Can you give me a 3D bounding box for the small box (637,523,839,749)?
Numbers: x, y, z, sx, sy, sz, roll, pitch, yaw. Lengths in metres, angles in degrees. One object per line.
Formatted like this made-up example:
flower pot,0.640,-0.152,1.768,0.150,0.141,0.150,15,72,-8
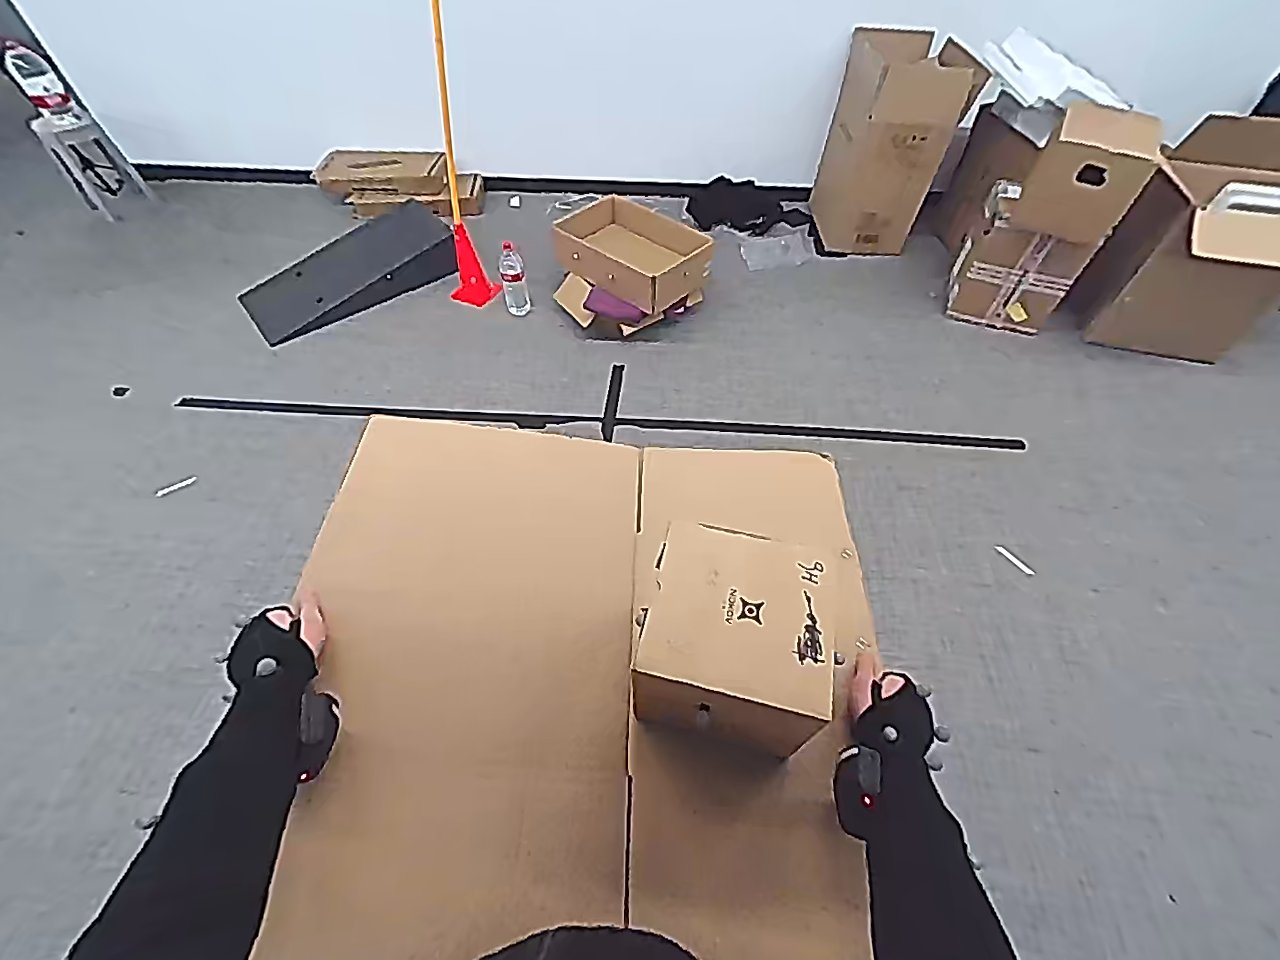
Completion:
small box,0.102,0.172,0.584,0.179,0.176,0.168,11,54,10
